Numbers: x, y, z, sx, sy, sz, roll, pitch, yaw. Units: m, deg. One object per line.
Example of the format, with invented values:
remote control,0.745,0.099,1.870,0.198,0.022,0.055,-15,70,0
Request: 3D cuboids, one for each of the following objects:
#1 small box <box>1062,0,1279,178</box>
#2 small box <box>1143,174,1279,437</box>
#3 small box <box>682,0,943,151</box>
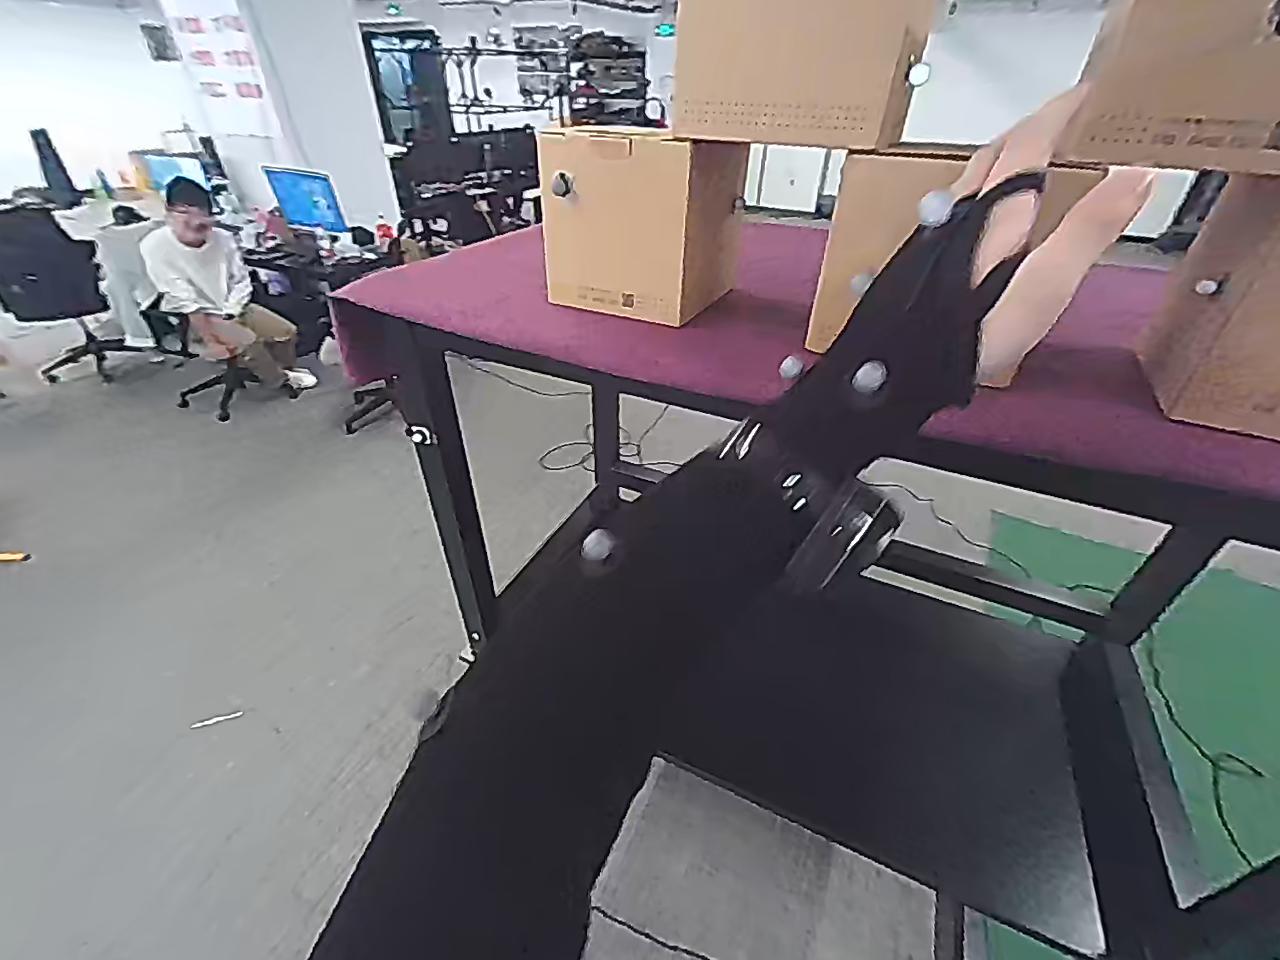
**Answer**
small box,0.410,-0.301,0.353,0.168,0.176,0.179,20,39,24
small box,0.523,-0.129,0.398,0.168,0.176,0.179,20,38,24
small box,0.146,-0.379,0.453,0.179,0.176,0.168,19,39,21
